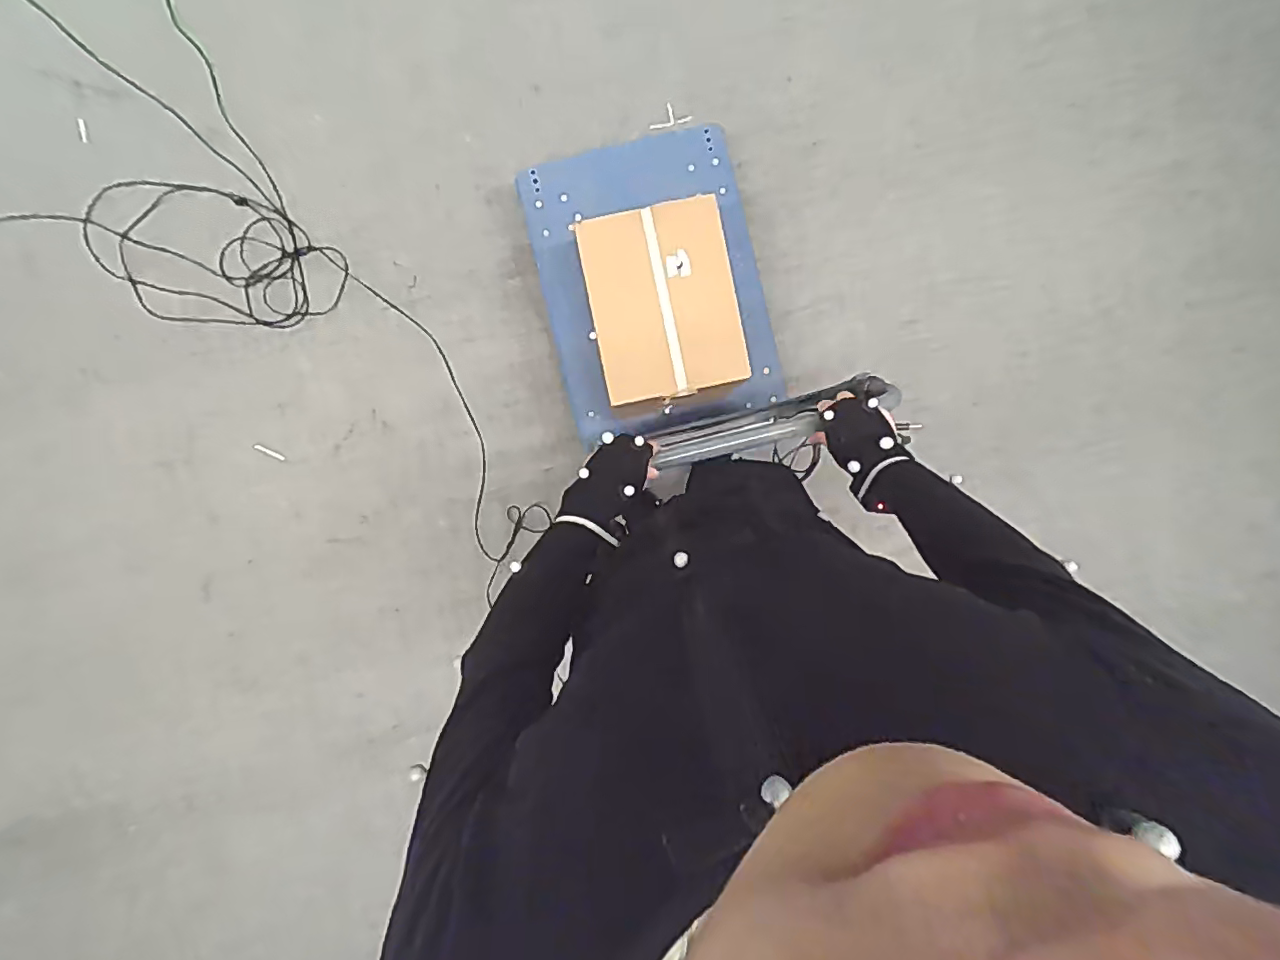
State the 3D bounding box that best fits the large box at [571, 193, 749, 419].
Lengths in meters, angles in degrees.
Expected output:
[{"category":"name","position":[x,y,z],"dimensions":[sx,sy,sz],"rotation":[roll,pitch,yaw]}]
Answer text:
[{"category":"large box","position":[0.042,-0.386,1.295],"dimensions":[0.320,0.320,0.408],"rotation":[-11,90,-1]}]
